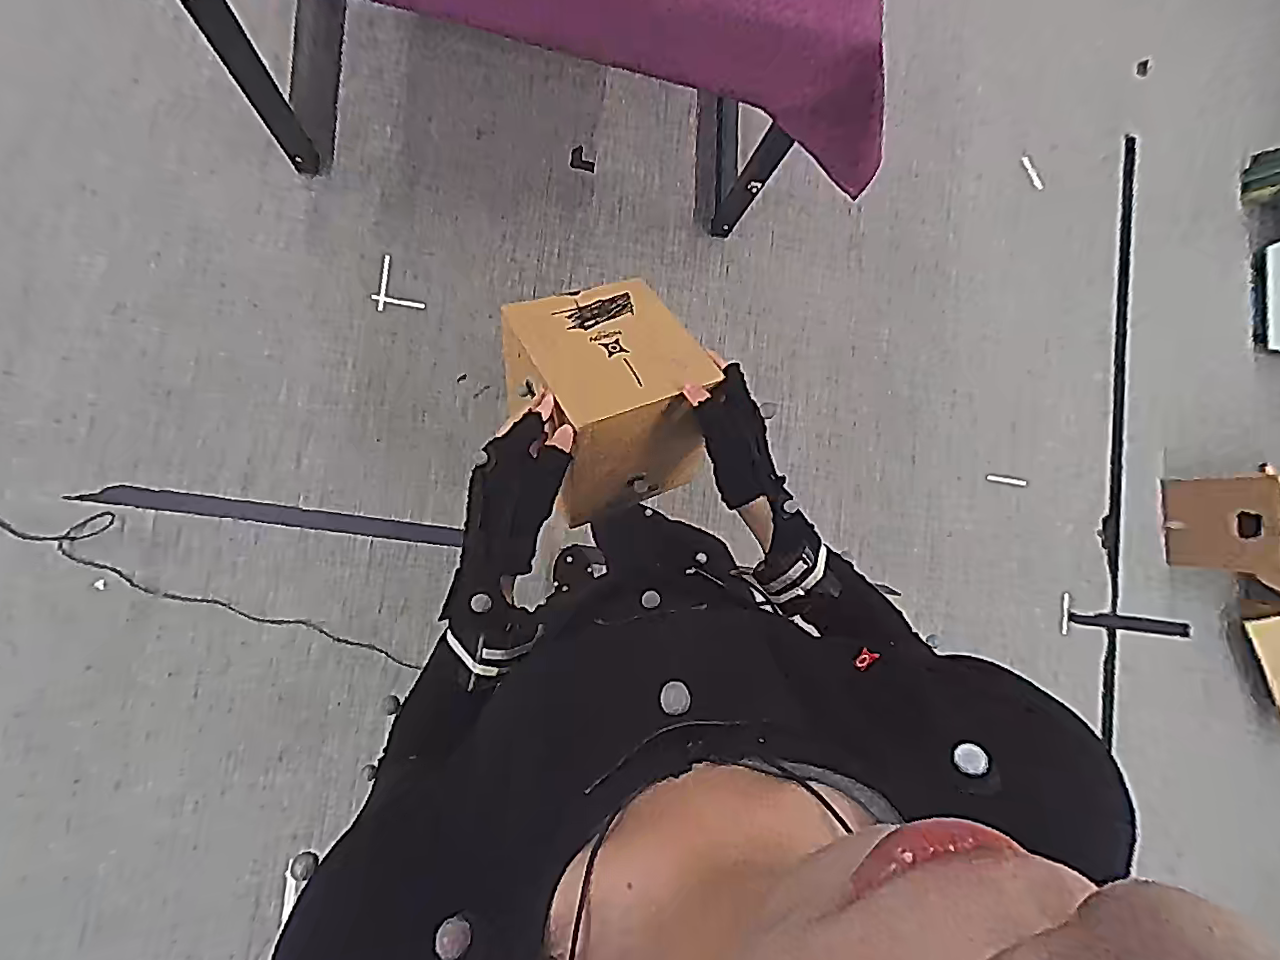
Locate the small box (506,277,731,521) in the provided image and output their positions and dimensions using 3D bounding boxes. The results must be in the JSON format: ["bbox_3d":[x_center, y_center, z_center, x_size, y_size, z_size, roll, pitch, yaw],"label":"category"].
[{"bbox_3d":[-0.034,-0.088,0.584,0.168,0.176,0.179,-21,58,-23],"label":"small box"}]
